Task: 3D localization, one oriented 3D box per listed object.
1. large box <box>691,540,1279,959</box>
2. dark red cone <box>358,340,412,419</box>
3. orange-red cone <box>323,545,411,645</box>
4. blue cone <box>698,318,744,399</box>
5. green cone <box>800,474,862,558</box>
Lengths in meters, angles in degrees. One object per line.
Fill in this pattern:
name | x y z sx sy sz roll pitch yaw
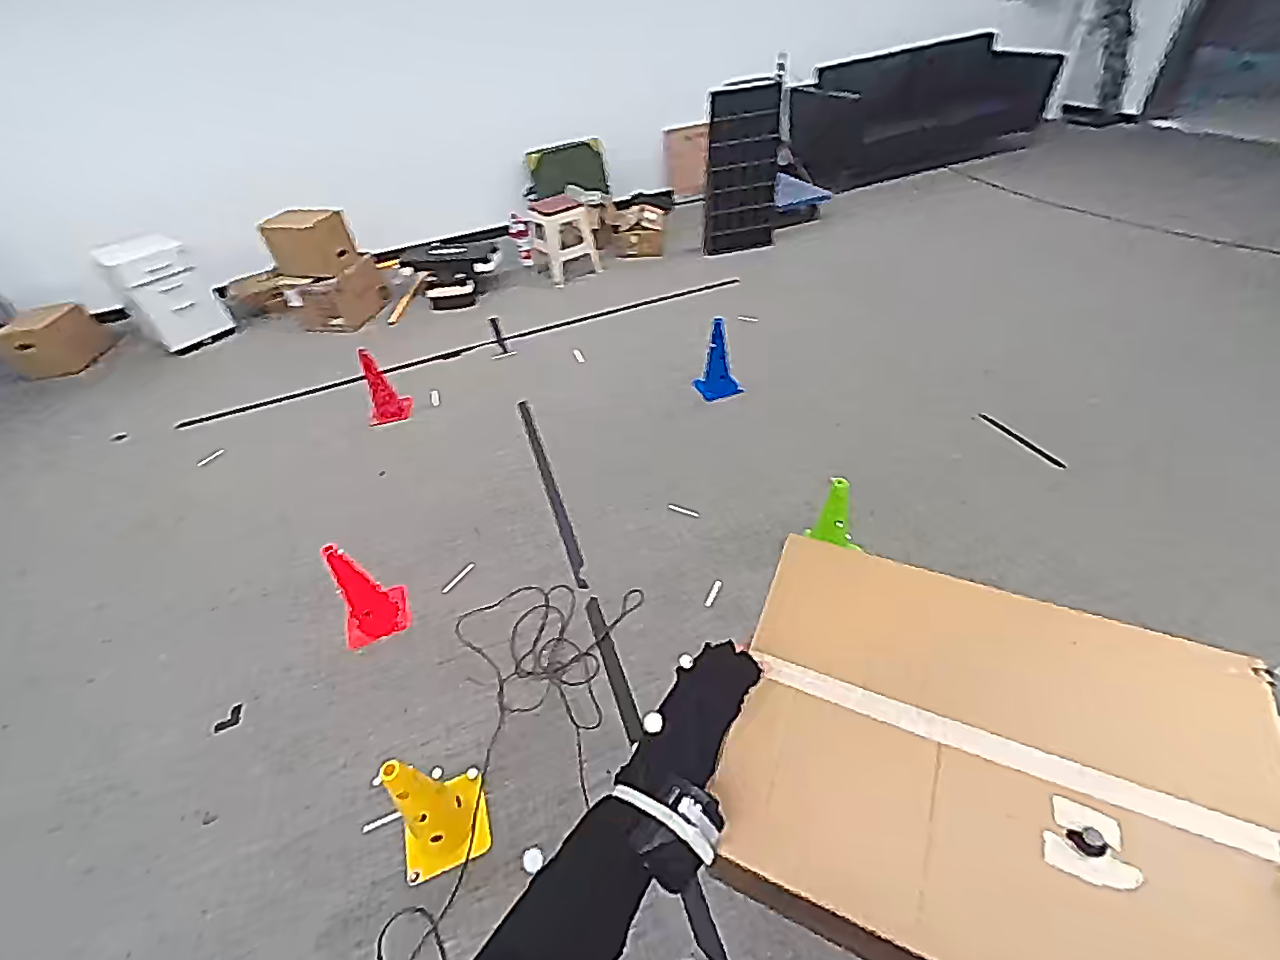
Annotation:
large box | 0.293 0.315 0.570 0.408 0.320 0.320 14 54 20
dark red cone | -1.284 -0.499 2.651 0.201 0.394 0.202 -13 43 -8
orange-red cone | -0.903 0.333 1.727 0.198 0.360 0.199 -20 45 -12
blue cone | 0.382 -0.587 2.567 0.192 0.380 0.193 -15 43 -10
green cone | 0.621 0.131 1.726 0.200 0.368 0.202 20 48 26
